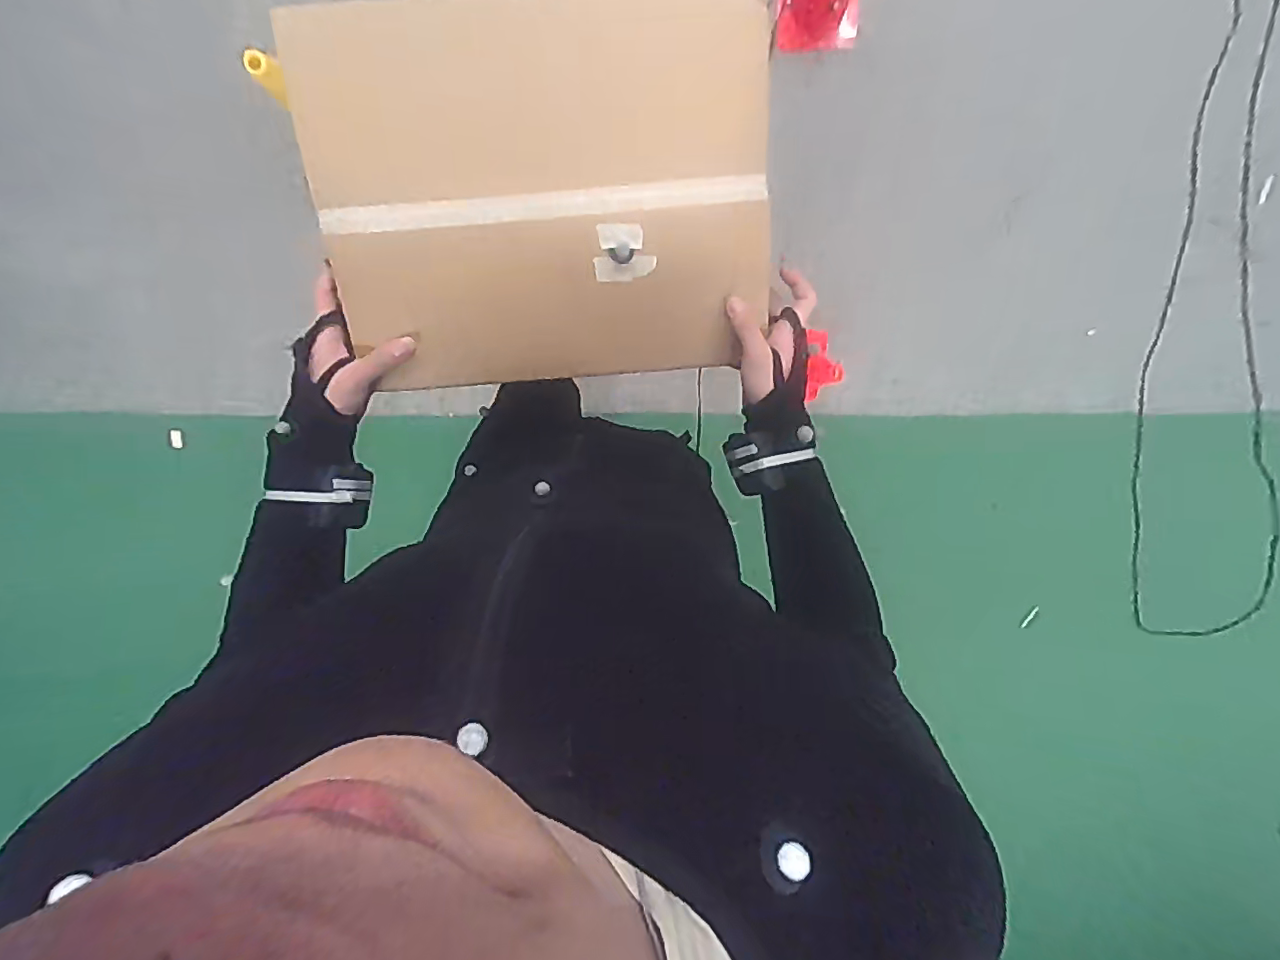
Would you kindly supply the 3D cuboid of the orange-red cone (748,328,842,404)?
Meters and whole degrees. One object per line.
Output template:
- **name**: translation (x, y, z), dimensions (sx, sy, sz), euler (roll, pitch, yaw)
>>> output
- **orange-red cone**: translation (0.431, -0.275, 1.383), dimensions (0.199, 0.360, 0.198), euler (7, 106, -6)

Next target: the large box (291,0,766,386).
- **large box**: translation (-0.090, -0.306, 0.639), dimensions (0.408, 0.320, 0.320), euler (-5, 110, -1)
